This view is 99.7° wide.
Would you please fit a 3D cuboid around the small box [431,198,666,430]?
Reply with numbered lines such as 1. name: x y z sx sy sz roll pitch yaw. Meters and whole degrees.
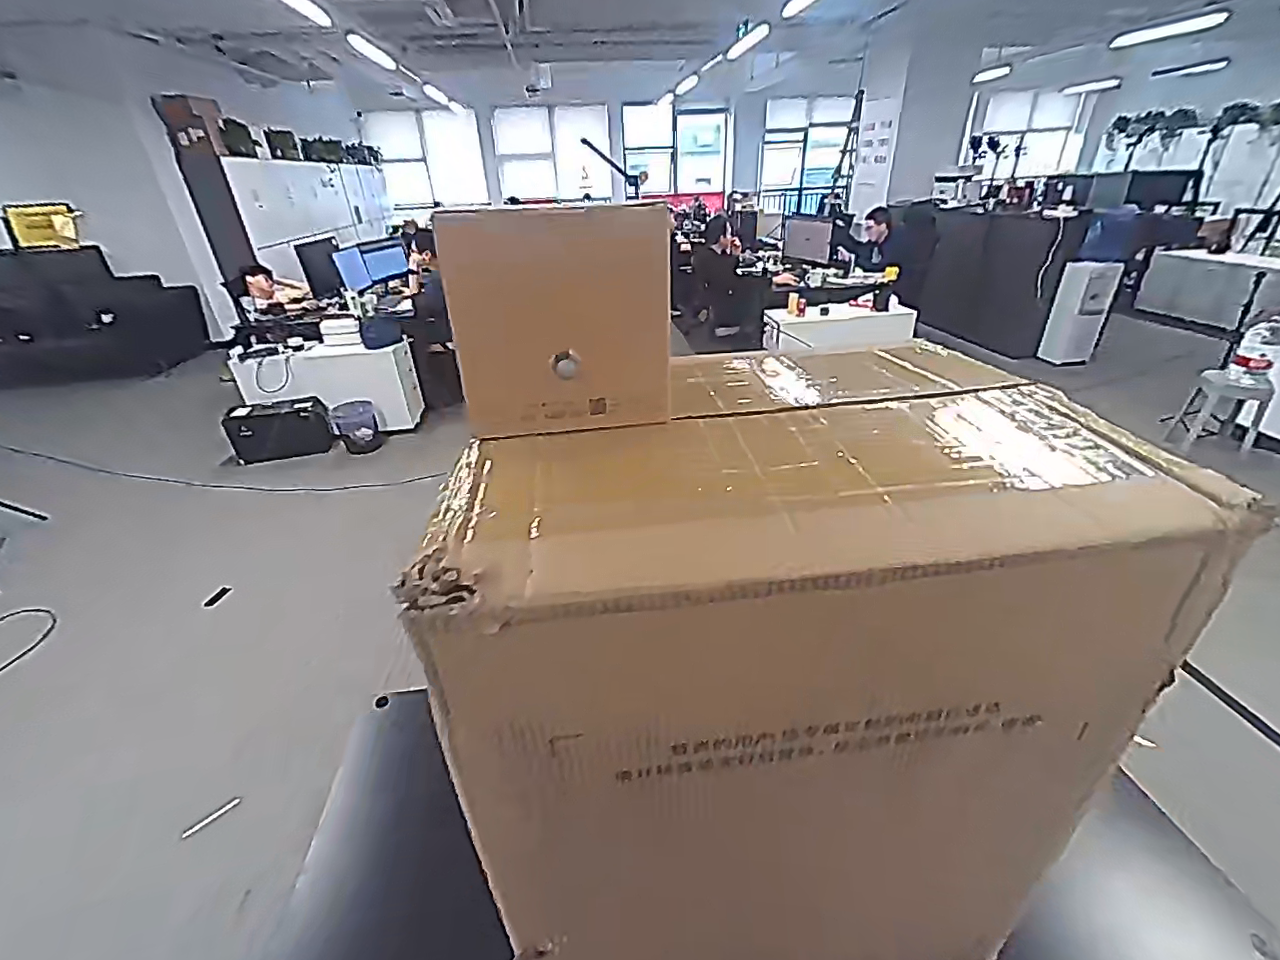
1. small box: -0.073 -0.155 0.486 0.168 0.176 0.179 -6 28 -7
